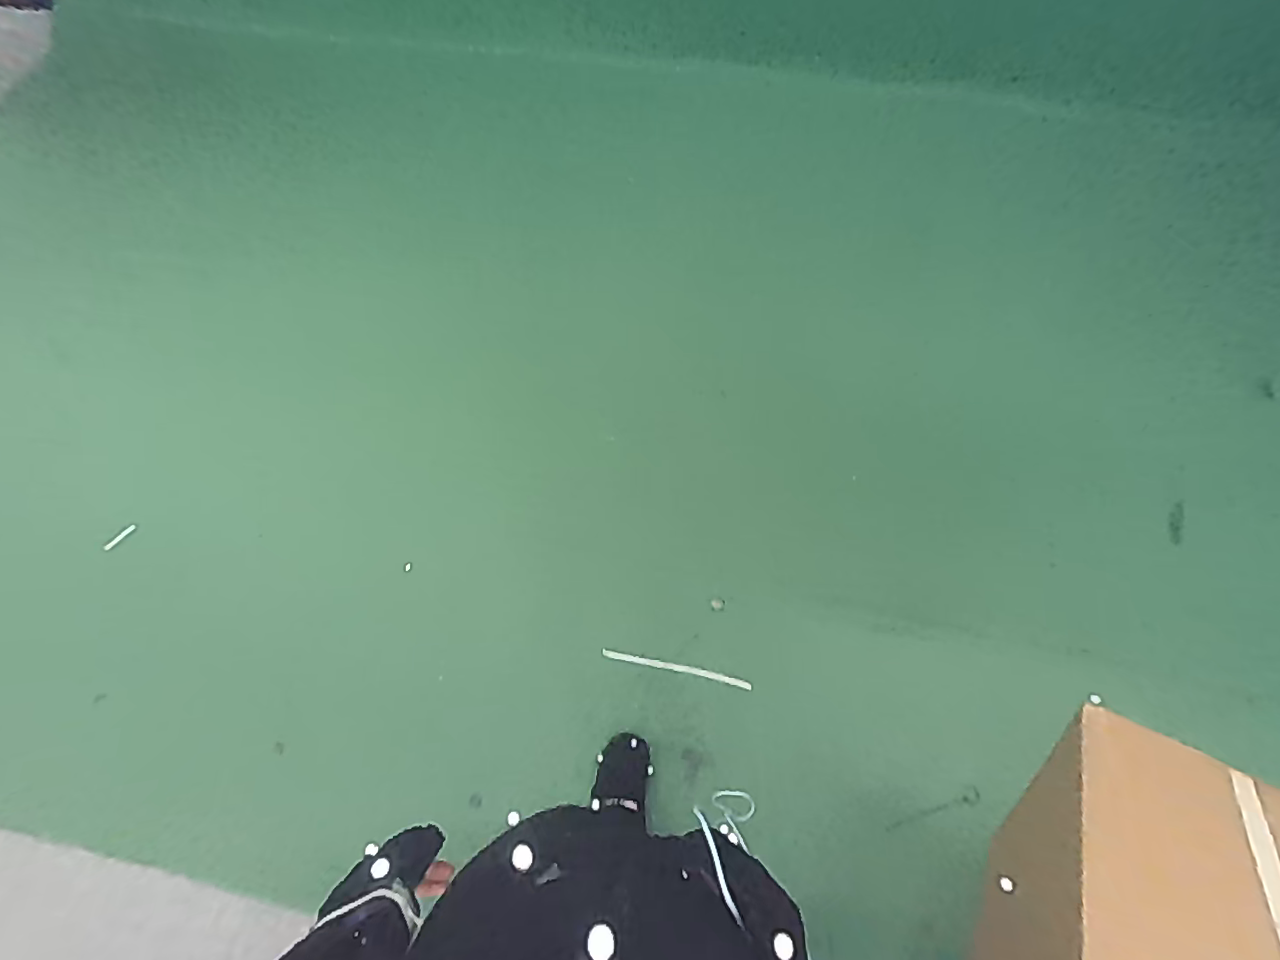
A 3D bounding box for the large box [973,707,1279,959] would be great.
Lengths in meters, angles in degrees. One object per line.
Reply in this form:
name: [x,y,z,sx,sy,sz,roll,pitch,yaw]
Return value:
large box: [0.584,0.554,0.586,0.320,0.320,0.408,25,30,30]
